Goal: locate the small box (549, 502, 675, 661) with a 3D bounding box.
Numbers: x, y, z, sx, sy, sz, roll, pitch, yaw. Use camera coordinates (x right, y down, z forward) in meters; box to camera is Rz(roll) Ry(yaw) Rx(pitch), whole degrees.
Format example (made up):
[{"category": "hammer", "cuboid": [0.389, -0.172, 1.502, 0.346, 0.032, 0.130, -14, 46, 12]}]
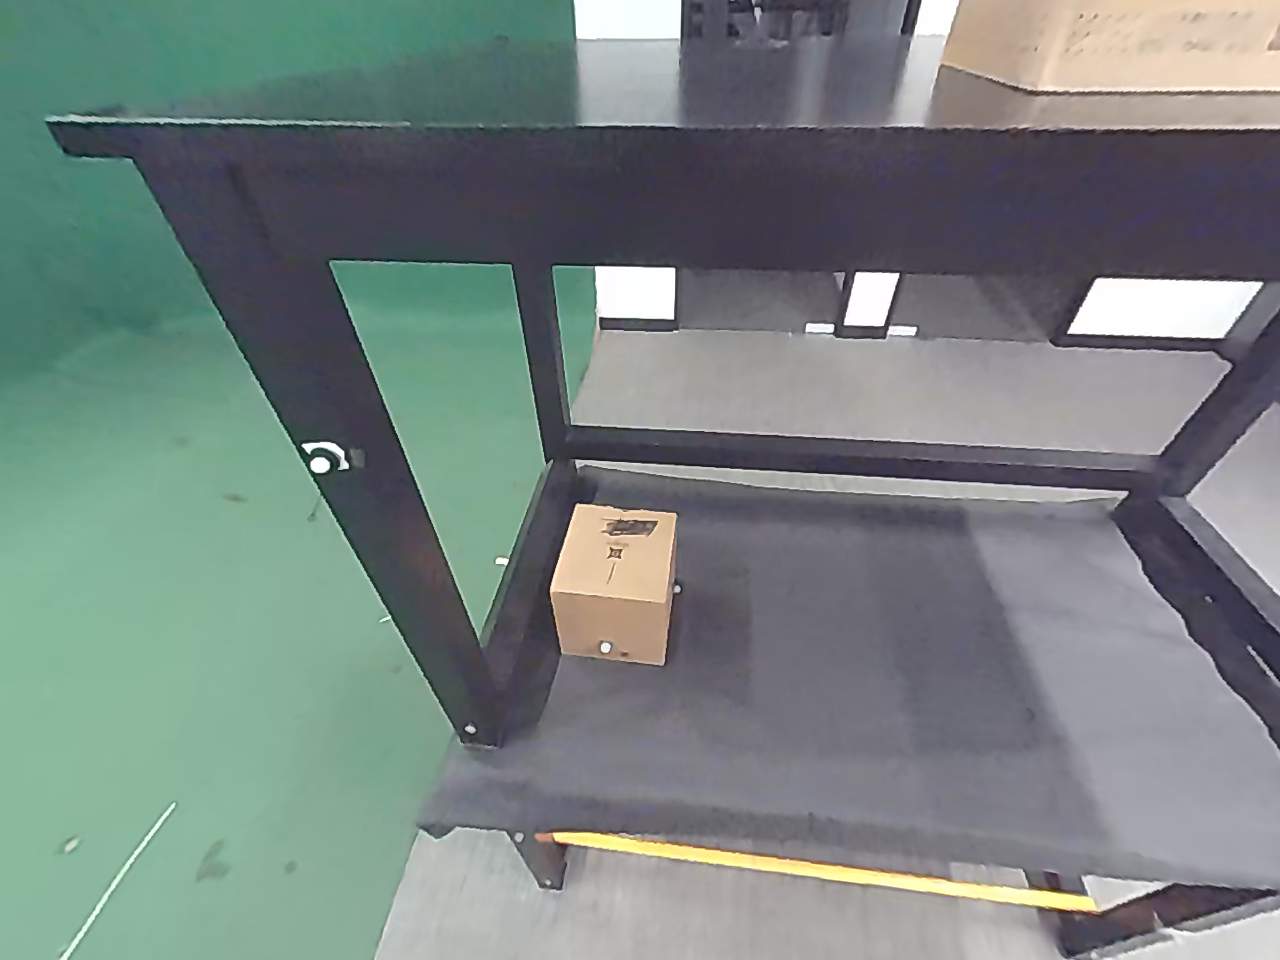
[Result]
[{"category": "small box", "cuboid": [-0.037, 0.160, 0.860, 0.168, 0.176, 0.179, 5, 43, 6]}]
